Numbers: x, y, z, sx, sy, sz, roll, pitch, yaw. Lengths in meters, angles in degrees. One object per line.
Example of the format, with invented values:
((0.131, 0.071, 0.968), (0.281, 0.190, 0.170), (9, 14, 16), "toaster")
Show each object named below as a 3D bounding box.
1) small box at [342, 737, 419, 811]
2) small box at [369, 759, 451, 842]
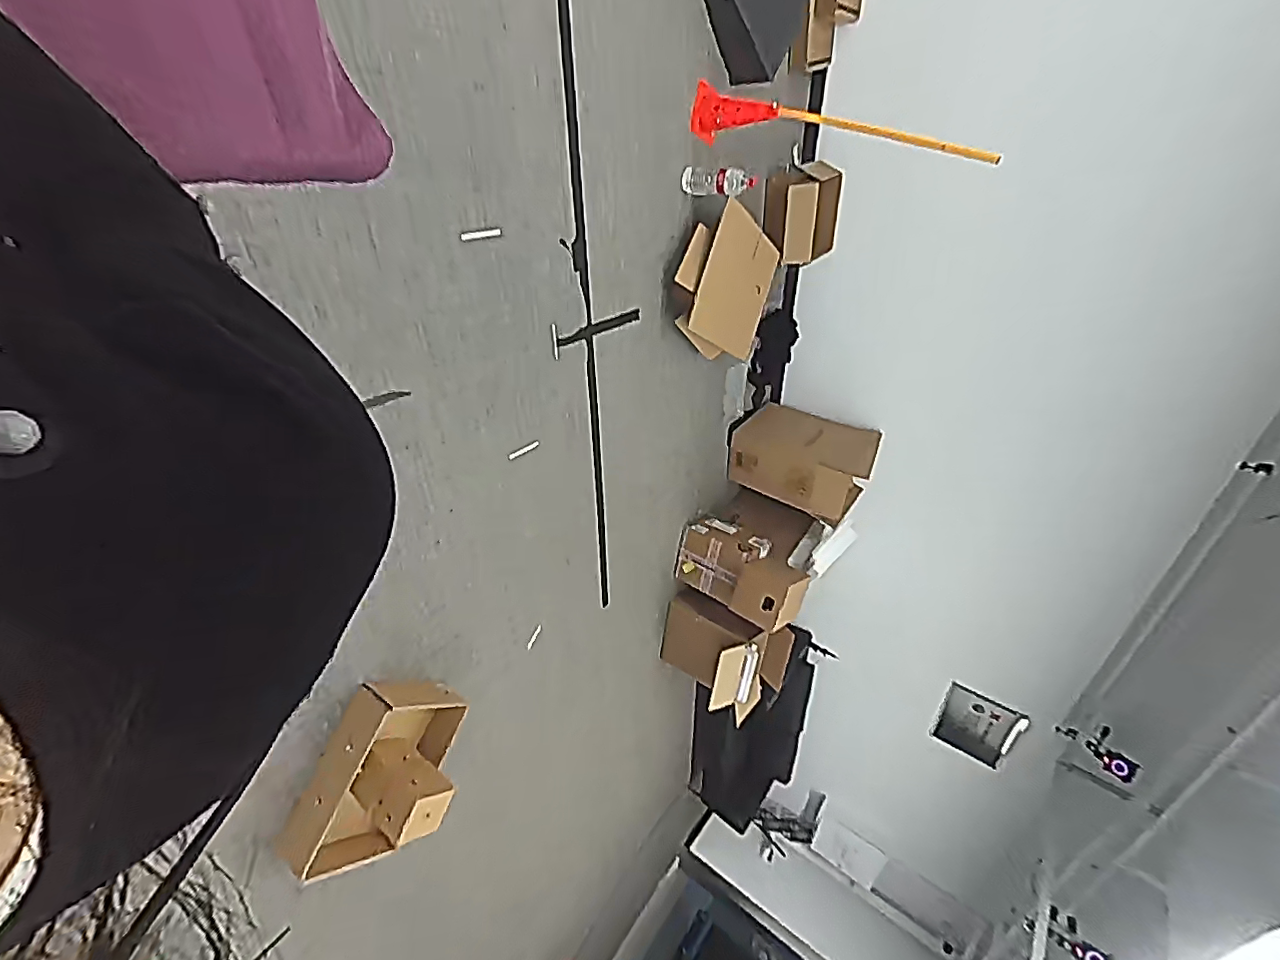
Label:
((-0.938, 1.061, 1.970), (0.168, 0.176, 0.179), (-64, 148, -6), "small box")
((-0.806, 1.110, 1.889), (0.179, 0.176, 0.168), (27, 88, -60), "small box")
